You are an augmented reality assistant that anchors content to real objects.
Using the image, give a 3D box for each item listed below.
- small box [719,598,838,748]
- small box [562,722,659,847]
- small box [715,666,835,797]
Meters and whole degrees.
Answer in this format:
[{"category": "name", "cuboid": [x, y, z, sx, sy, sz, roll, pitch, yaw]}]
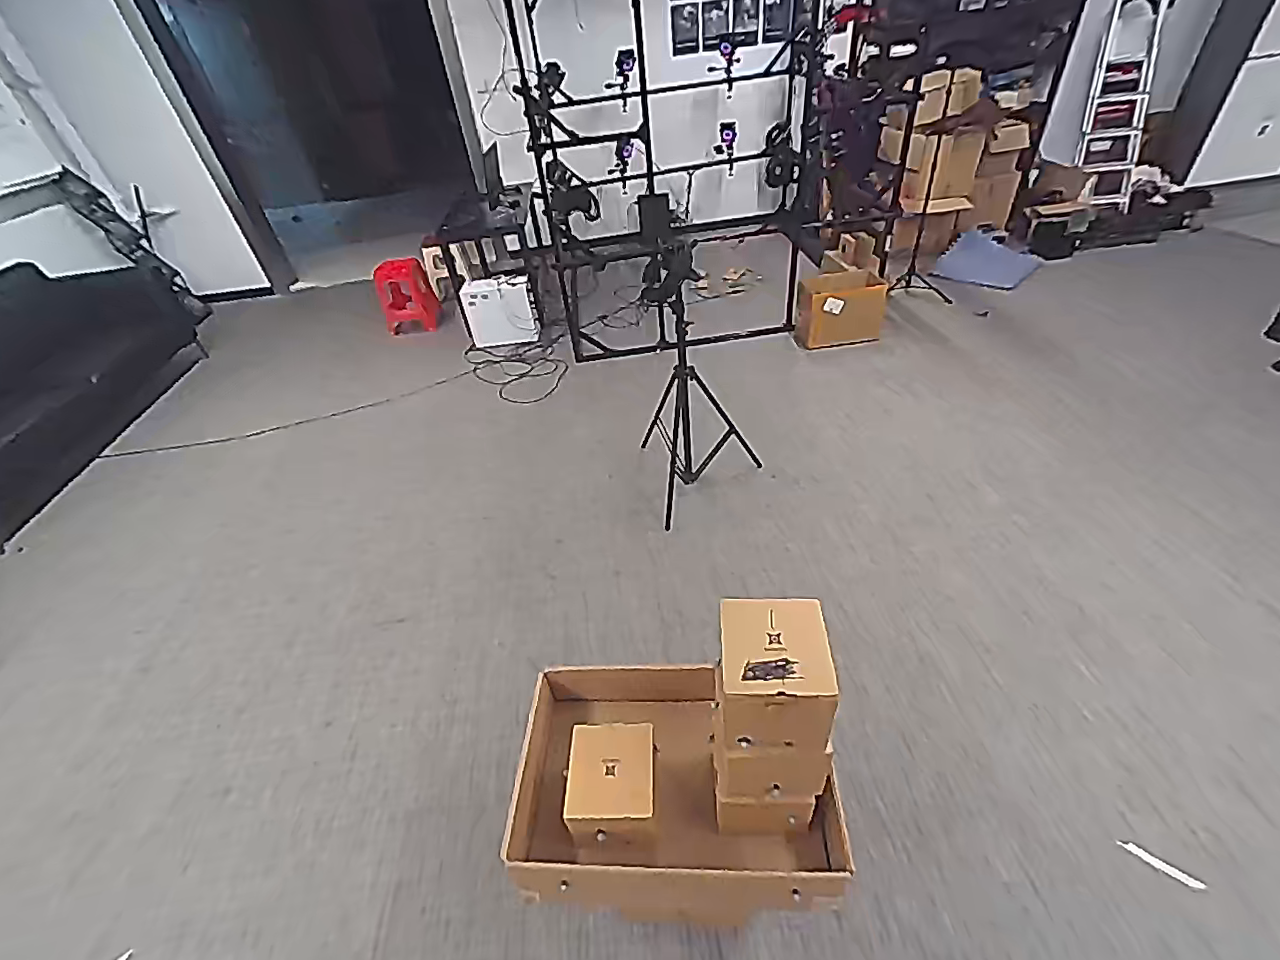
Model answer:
[{"category": "small box", "cuboid": [0.215, 0.314, 0.879, 0.168, 0.176, 0.179, -1, 39, 7]}, {"category": "small box", "cuboid": [-0.050, 0.611, 1.081, 0.168, 0.176, 0.179, -3, 39, 4]}, {"category": "small box", "cuboid": [0.230, 0.450, 0.971, 0.179, 0.176, 0.168, -3, 39, 3]}]
